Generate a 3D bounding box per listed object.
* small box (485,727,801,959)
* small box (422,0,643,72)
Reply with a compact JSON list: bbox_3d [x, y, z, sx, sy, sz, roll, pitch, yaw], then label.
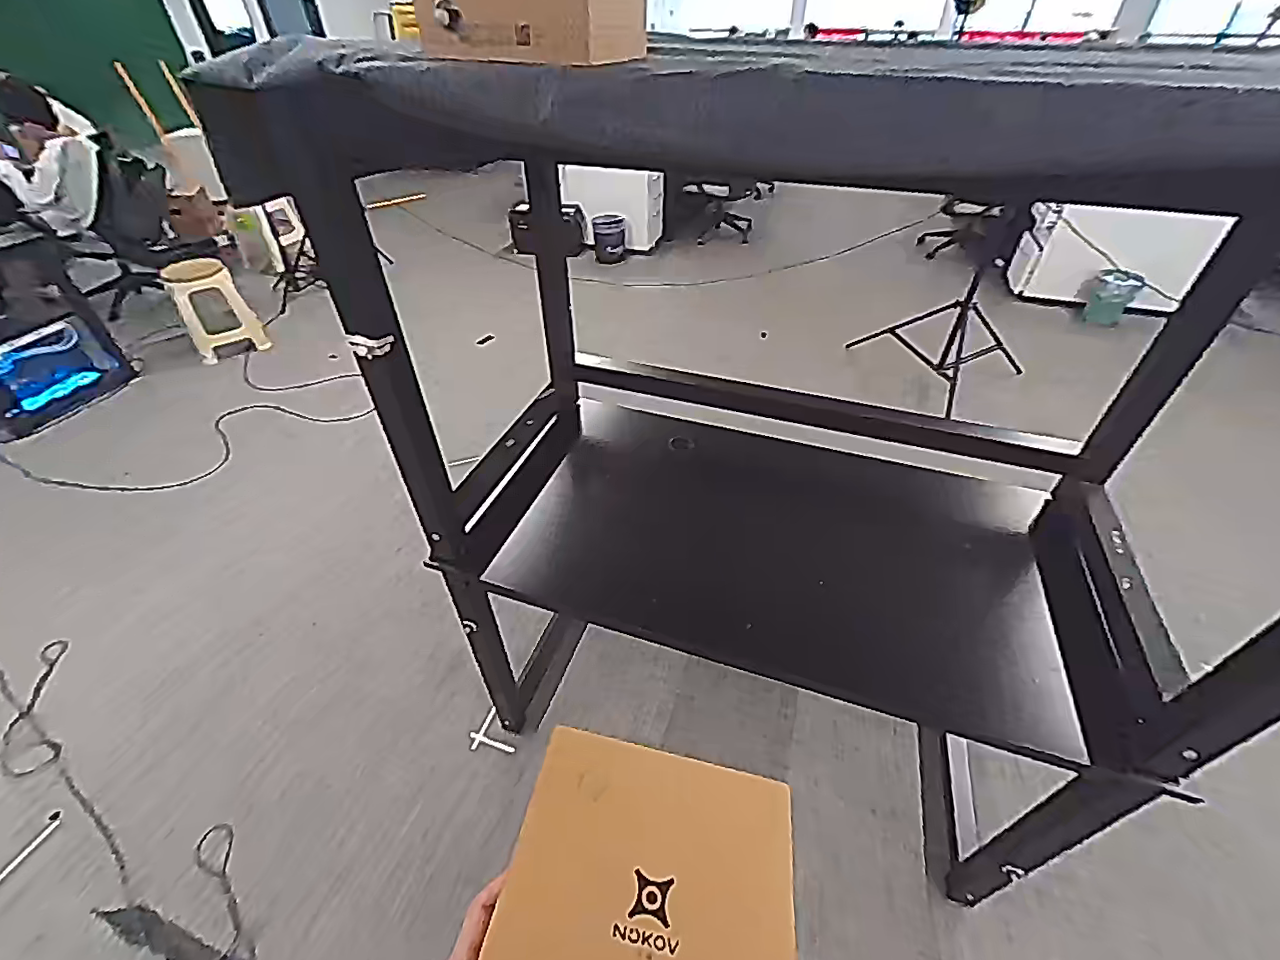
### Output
[{"bbox_3d":[-0.004,0.299,0.346,0.168,0.176,0.179,12,38,3],"label":"small box"},{"bbox_3d":[-0.093,-0.481,0.493,0.168,0.176,0.179,12,40,12],"label":"small box"}]
